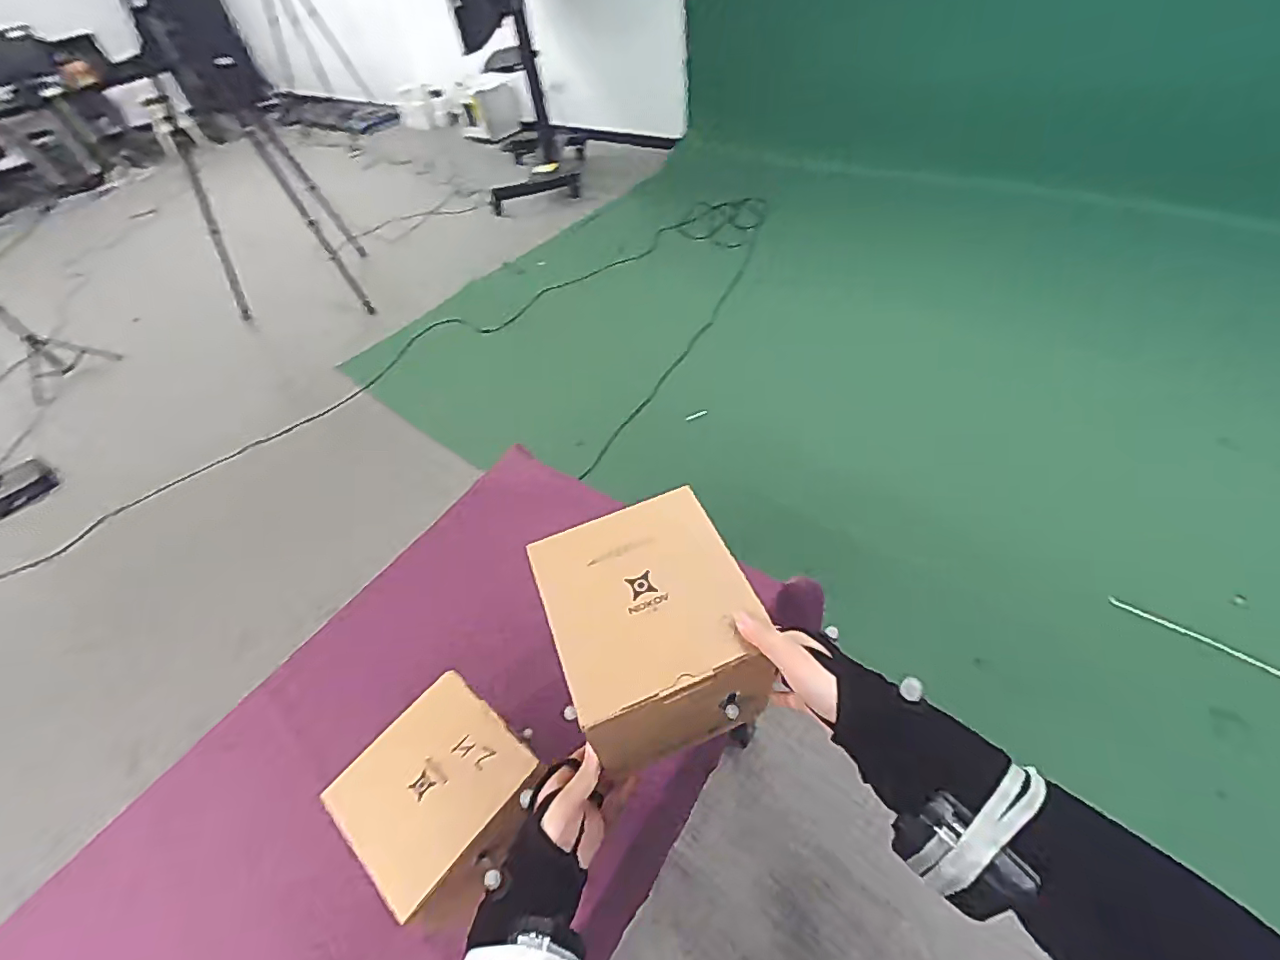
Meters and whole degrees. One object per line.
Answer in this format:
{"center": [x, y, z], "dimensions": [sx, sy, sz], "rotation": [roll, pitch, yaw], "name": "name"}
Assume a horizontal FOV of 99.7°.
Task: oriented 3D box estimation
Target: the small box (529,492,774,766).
{"center": [0.011, 0.149, 0.518], "dimensions": [0.168, 0.176, 0.179], "rotation": [-20, 49, -9], "name": "small box"}

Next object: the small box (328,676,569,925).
{"center": [-0.208, 0.374, 0.632], "dimensions": [0.168, 0.176, 0.179], "rotation": [29, 60, 31], "name": "small box"}
